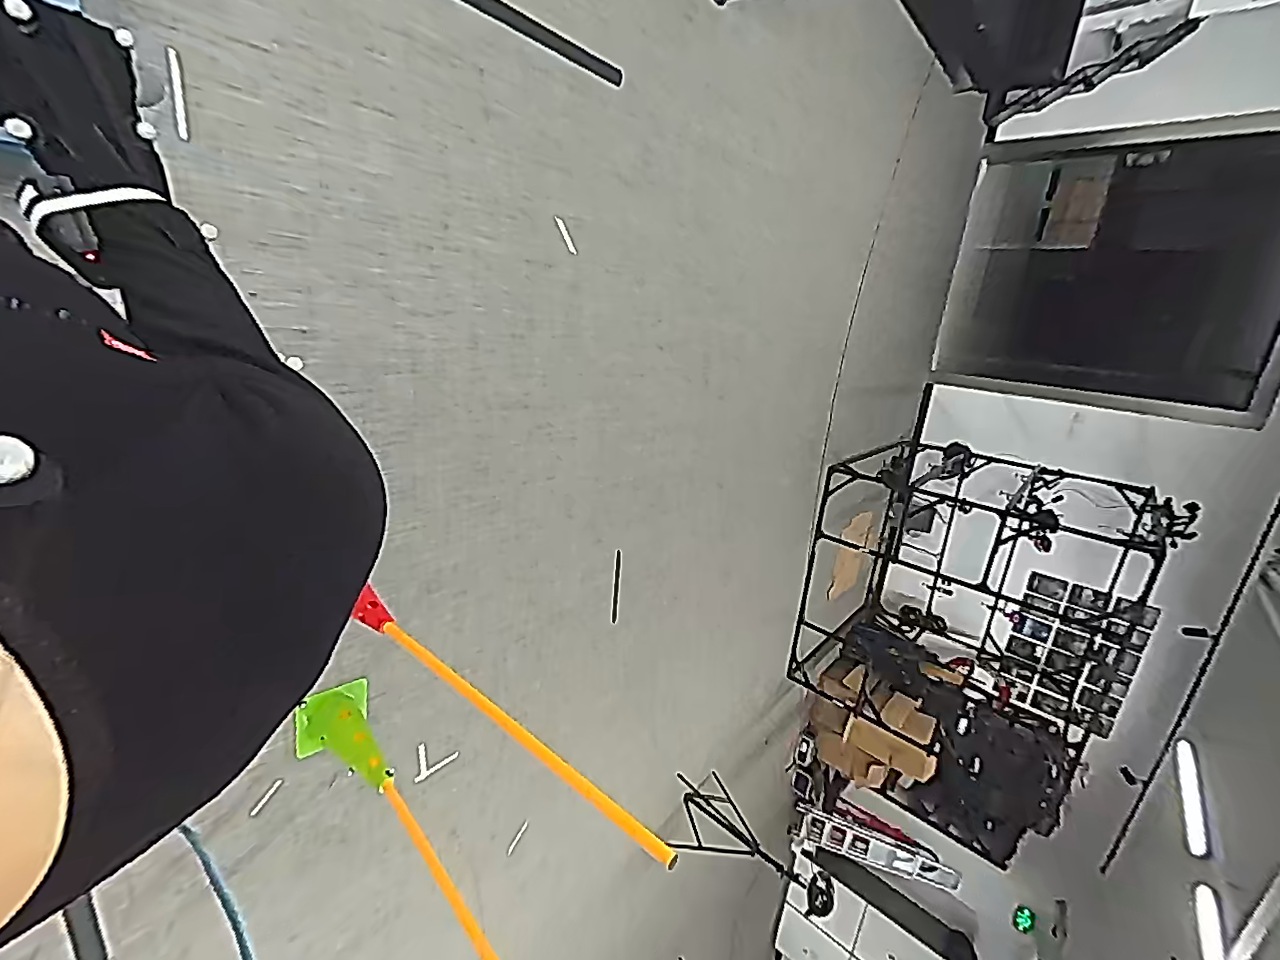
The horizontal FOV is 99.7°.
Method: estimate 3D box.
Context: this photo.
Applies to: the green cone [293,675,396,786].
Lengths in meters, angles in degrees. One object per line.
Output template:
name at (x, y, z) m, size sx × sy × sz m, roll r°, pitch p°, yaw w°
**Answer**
green cone at (-0.805, 0.752, 1.531) m, size 0.202 × 0.368 × 0.200 m, roll -10°, pitch 113°, yaw -51°
